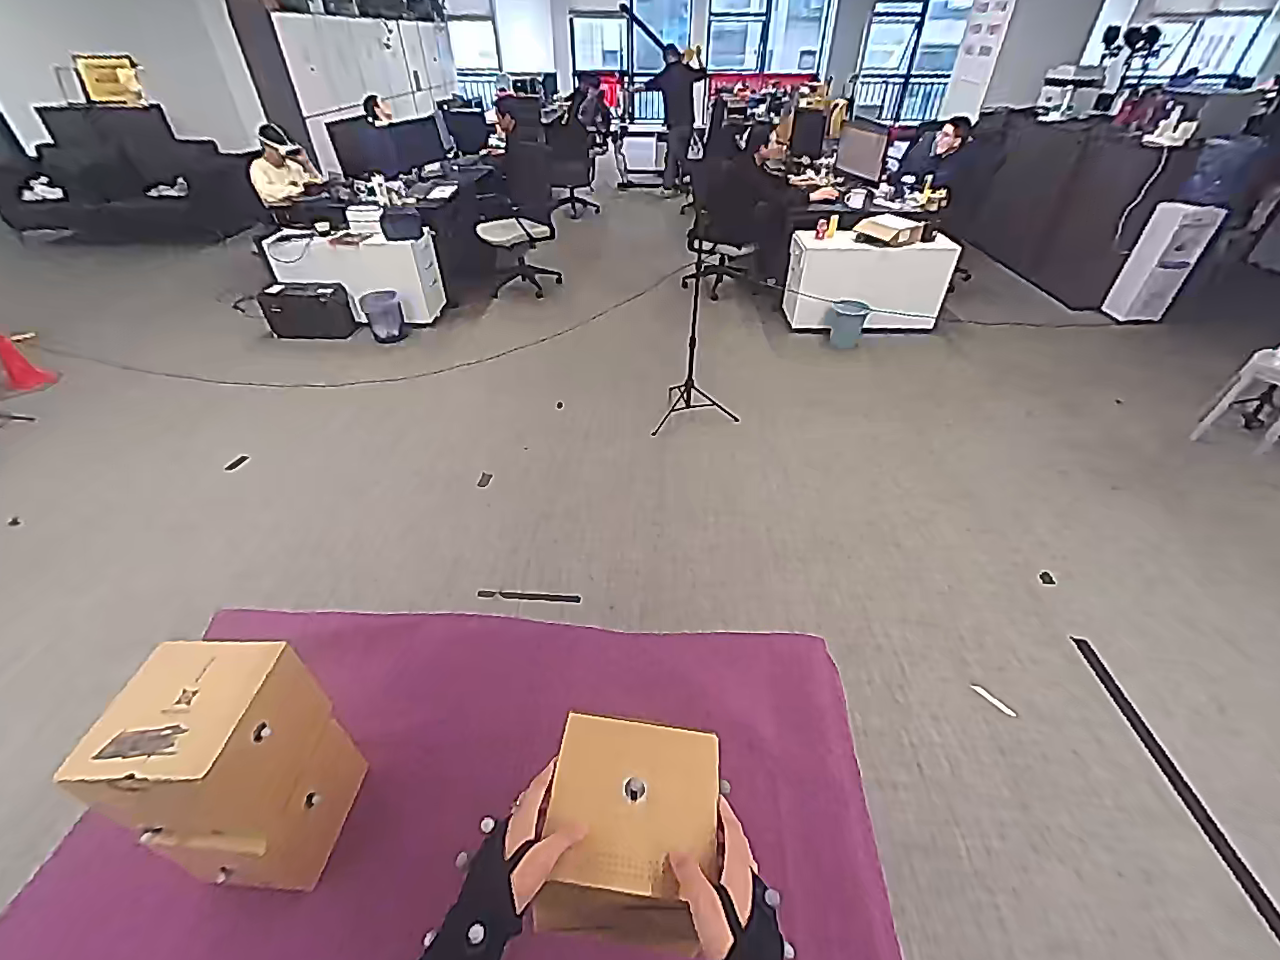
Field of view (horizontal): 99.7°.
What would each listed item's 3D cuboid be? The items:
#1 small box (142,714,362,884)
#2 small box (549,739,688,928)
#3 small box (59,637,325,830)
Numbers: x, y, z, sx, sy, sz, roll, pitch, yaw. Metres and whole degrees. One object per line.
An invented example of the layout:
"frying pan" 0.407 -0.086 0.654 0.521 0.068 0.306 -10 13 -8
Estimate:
"small box" -0.538 0.458 0.787 0.168 0.176 0.179 4 40 3
"small box" -0.020 0.492 0.753 0.168 0.176 0.179 3 39 4
"small box" -0.540 0.324 0.691 0.168 0.176 0.179 1 39 0
